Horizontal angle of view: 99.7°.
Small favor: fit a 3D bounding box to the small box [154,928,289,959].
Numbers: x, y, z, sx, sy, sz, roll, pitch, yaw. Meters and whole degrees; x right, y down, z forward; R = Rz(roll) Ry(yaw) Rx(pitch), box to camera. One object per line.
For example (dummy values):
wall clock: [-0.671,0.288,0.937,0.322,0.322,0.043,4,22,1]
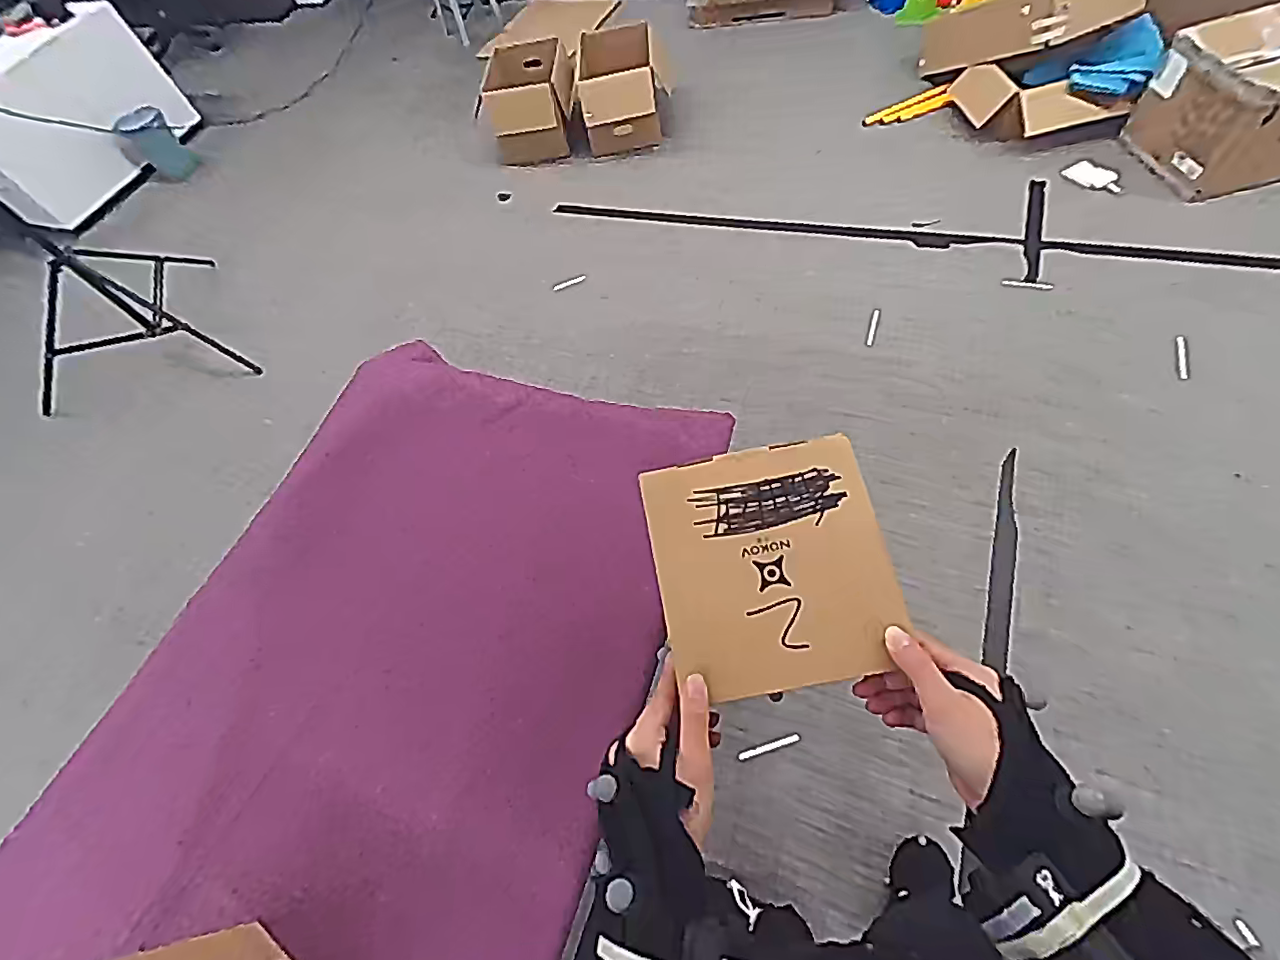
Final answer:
small box: [-0.366,0.496,0.413,0.168,0.176,0.179,23,67,22]
